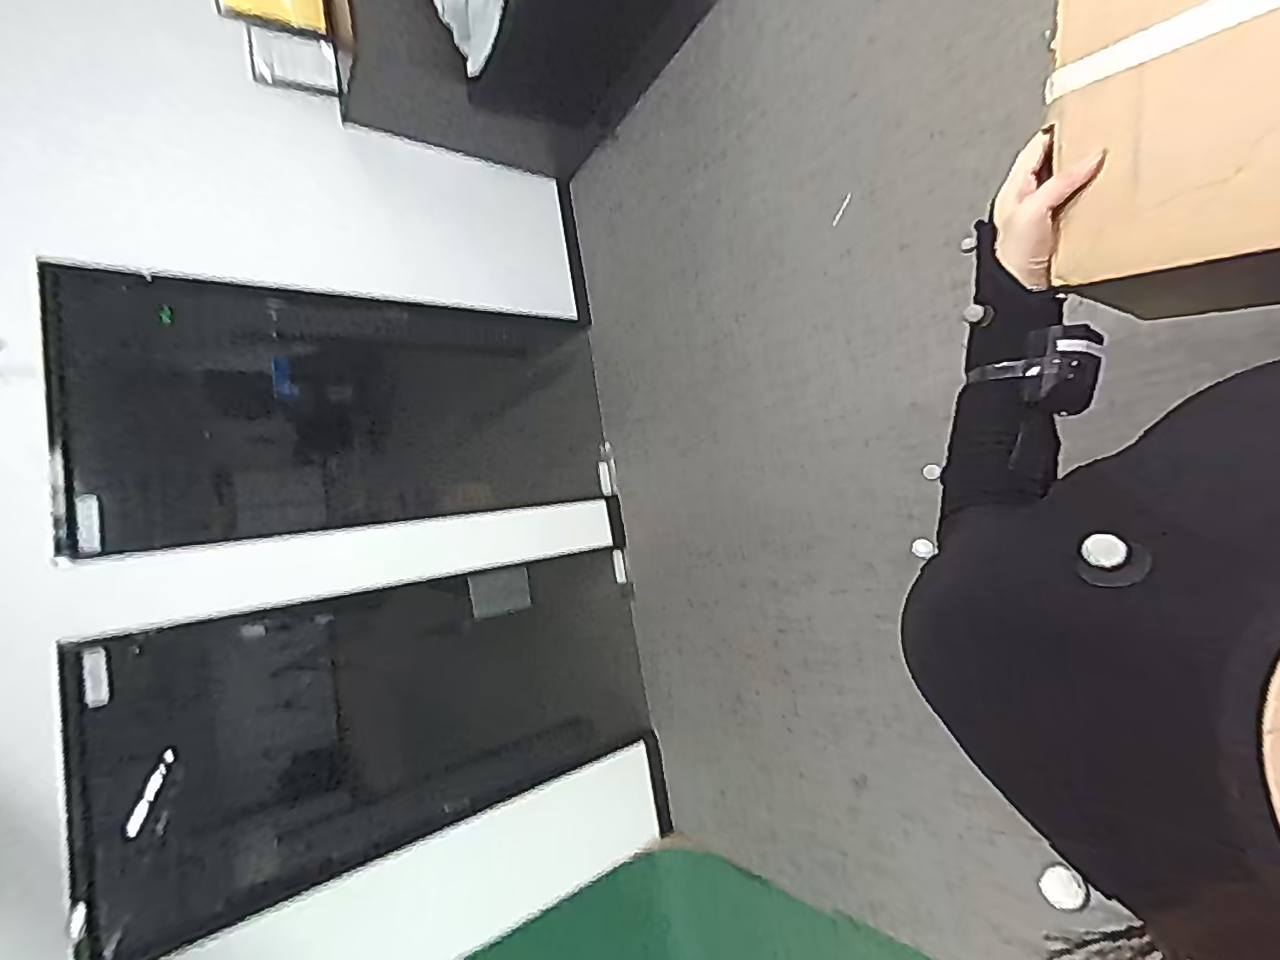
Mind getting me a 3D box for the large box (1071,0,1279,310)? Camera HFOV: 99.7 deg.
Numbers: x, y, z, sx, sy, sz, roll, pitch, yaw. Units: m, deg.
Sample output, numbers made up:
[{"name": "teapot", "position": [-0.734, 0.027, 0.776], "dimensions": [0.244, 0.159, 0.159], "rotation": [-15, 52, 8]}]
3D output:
[{"name": "large box", "position": [0.576, -0.322, 0.357], "dimensions": [0.408, 0.320, 0.320], "rotation": [5, 100, 51]}]
